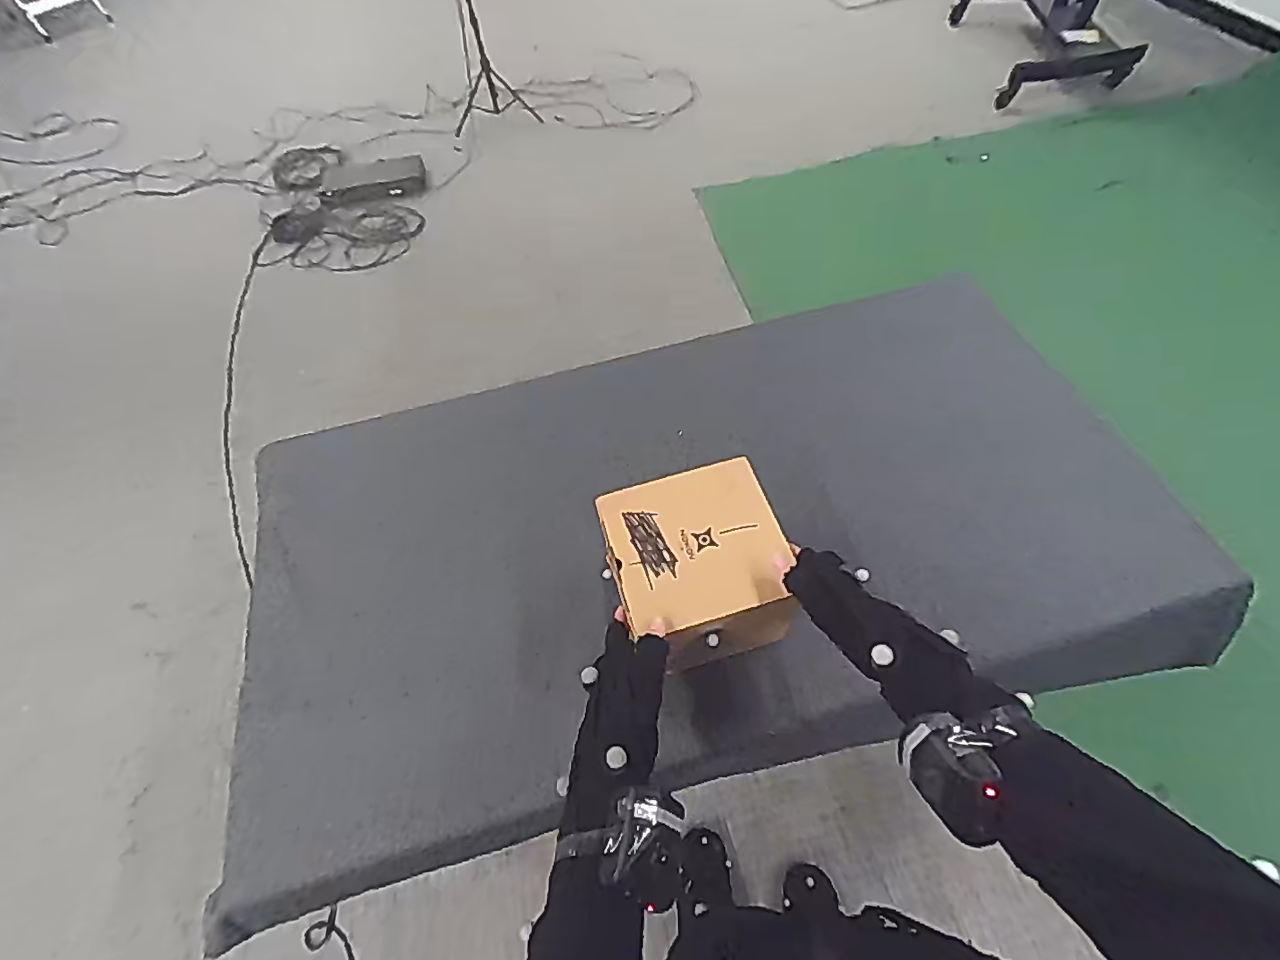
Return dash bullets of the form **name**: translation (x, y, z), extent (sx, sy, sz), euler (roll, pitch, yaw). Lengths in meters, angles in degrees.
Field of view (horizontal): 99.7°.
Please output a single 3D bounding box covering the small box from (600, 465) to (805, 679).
- **small box**: translation (0.064, 0.113, 0.626), extent (0.179, 0.176, 0.168), euler (-15, 58, -6)
